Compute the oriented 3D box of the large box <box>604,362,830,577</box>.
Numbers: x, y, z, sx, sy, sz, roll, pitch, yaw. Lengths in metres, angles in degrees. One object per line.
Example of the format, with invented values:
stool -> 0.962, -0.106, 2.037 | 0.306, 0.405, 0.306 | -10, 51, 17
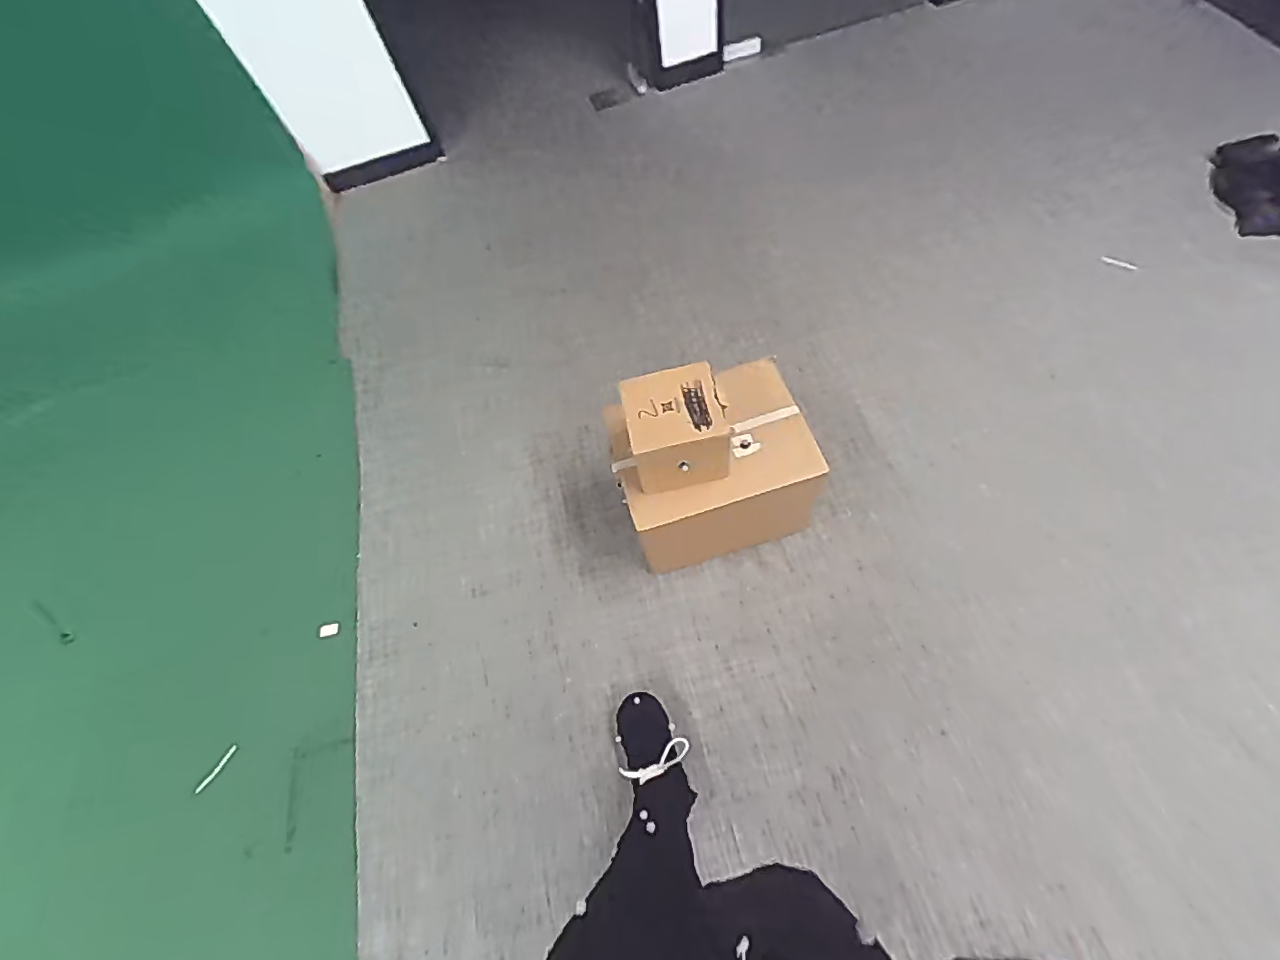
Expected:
large box -> 0.165, -0.011, 1.265 | 0.408, 0.320, 0.320 | -17, 63, -2
